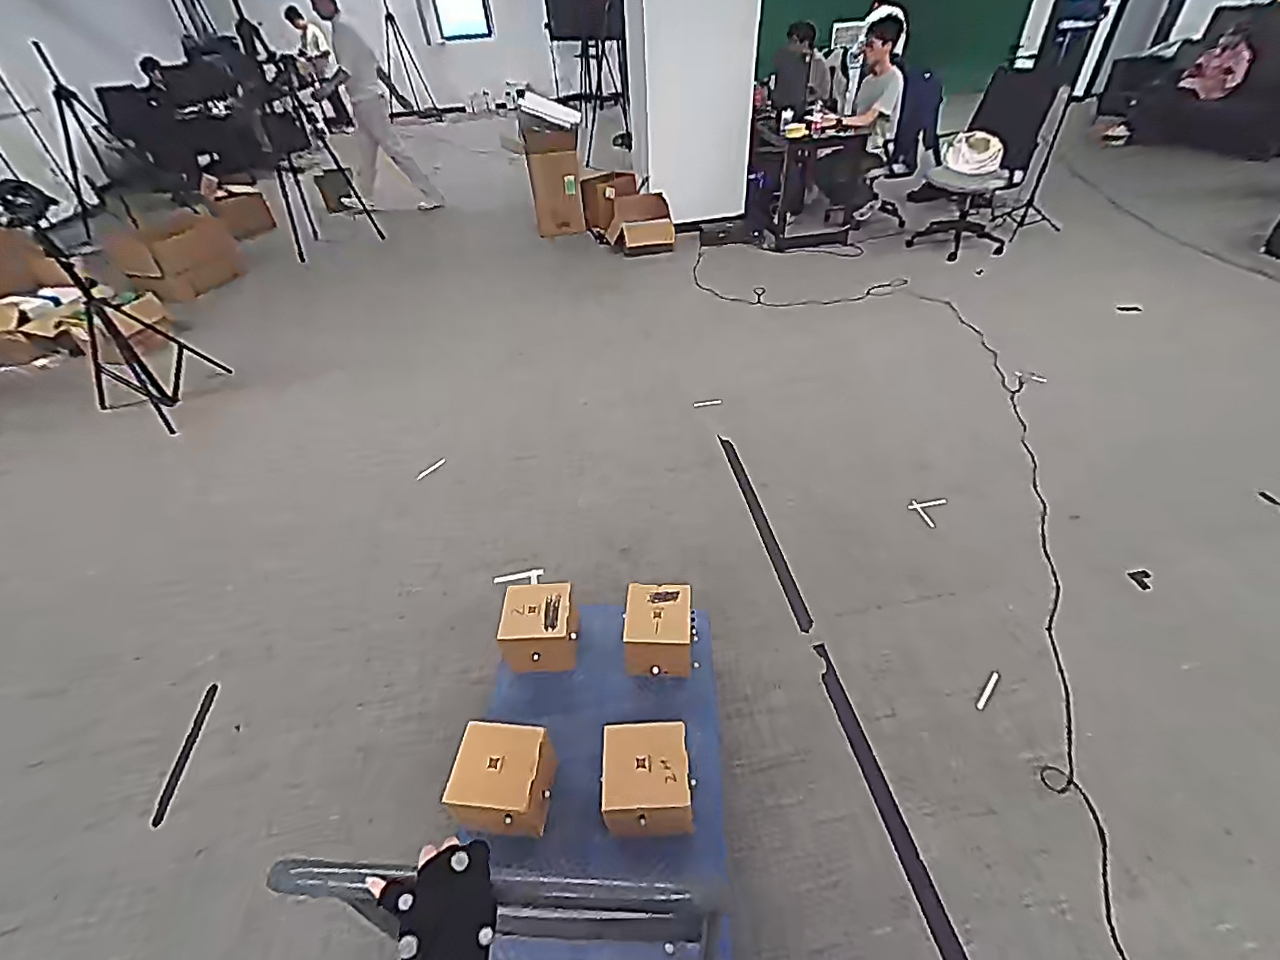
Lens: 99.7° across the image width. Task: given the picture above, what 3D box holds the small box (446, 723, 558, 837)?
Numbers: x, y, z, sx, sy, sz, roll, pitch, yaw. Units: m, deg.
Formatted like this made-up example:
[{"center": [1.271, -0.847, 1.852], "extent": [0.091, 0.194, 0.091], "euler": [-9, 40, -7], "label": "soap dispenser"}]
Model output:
[{"center": [-0.287, 0.649, 1.170], "extent": [0.179, 0.176, 0.168], "euler": [2, 42, 6], "label": "small box"}]

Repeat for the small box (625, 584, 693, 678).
[{"center": [0.055, 0.396, 1.421], "extent": [0.168, 0.176, 0.179], "euler": [0, 43, 6], "label": "small box"}]

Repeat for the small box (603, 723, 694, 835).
[{"center": [0.021, 0.638, 1.151], "extent": [0.179, 0.176, 0.168], "euler": [-4, 42, 2], "label": "small box"}]
